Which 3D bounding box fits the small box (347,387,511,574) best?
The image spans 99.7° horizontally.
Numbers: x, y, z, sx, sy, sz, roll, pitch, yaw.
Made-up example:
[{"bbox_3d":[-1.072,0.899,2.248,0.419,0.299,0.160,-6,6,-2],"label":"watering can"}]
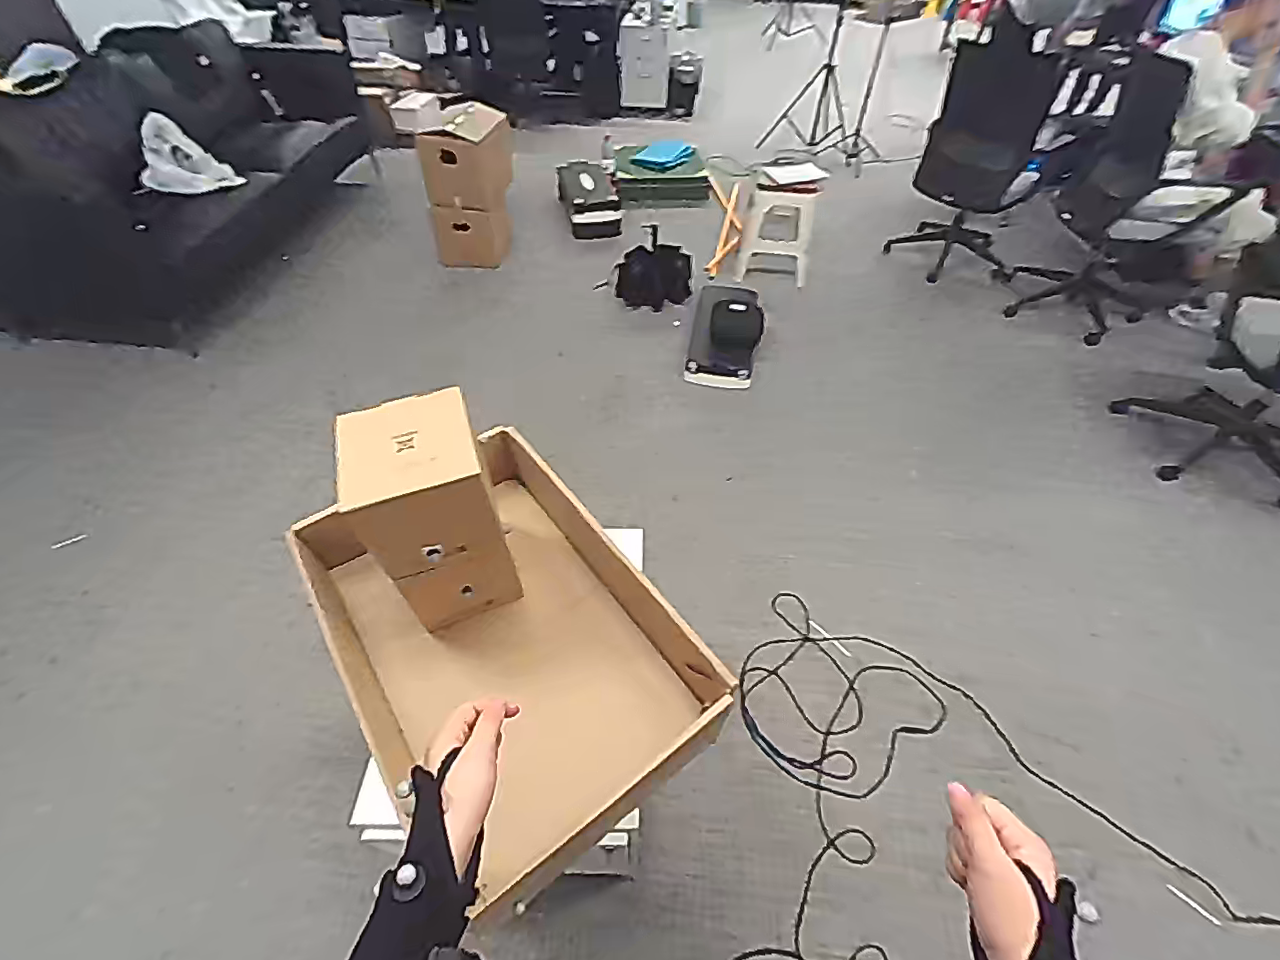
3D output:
[{"bbox_3d":[-0.293,0.001,0.766,0.168,0.176,0.179,-18,53,-12],"label":"small box"}]
